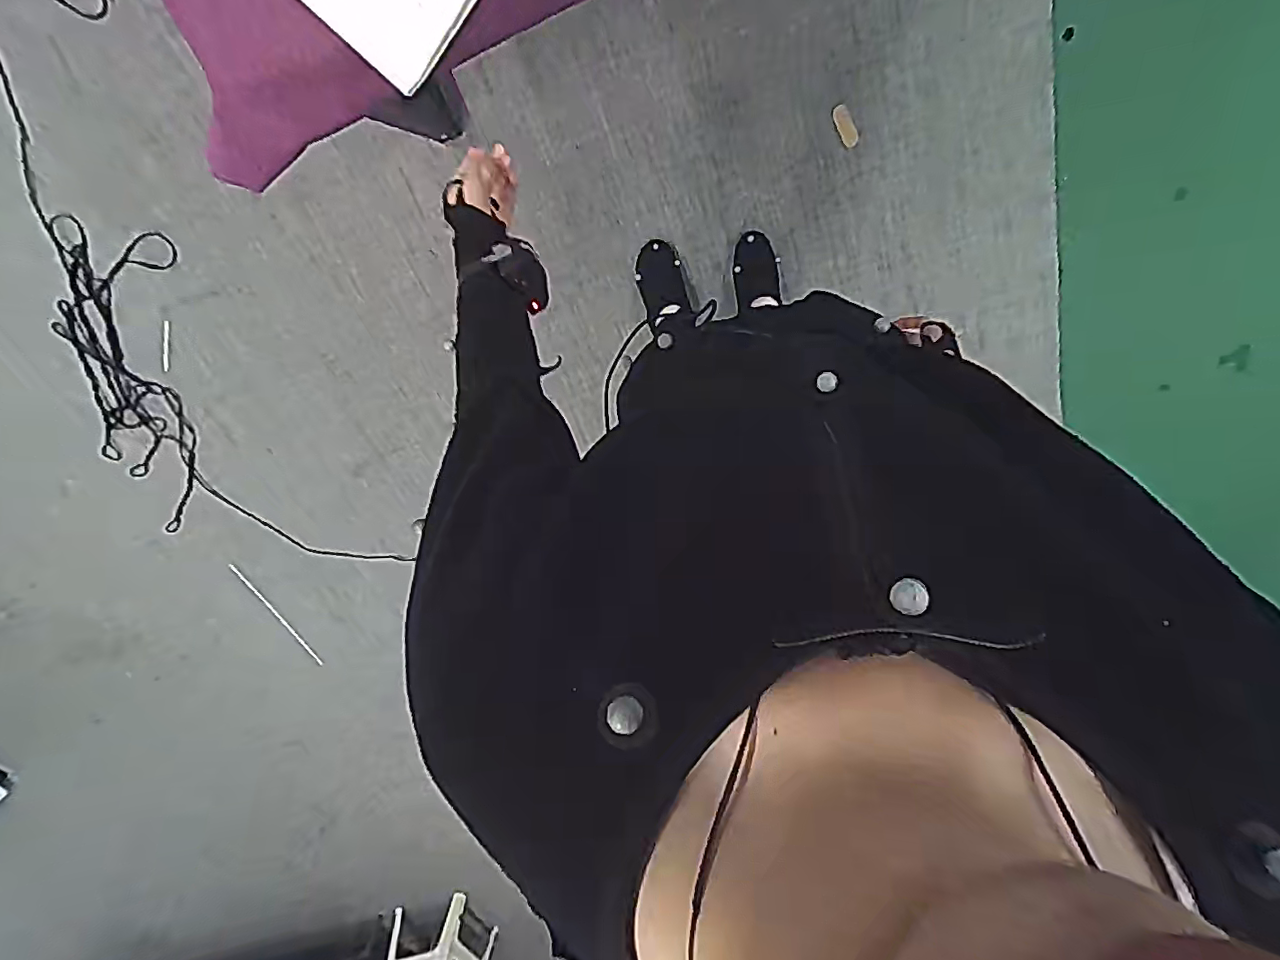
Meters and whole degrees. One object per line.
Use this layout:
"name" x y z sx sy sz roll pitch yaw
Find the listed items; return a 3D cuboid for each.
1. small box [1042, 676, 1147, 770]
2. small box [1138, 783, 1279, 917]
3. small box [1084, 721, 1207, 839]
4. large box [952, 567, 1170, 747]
"small box" 1.265 0.670 1.497 0.168 0.176 0.179 -31 112 14
"small box" 1.268 0.819 1.204 0.179 0.176 0.168 -31 112 15
"small box" 1.264 0.746 1.352 0.179 0.176 0.168 -33 111 14
"large box" 1.306 0.551 1.711 0.408 0.320 0.320 -33 113 13
